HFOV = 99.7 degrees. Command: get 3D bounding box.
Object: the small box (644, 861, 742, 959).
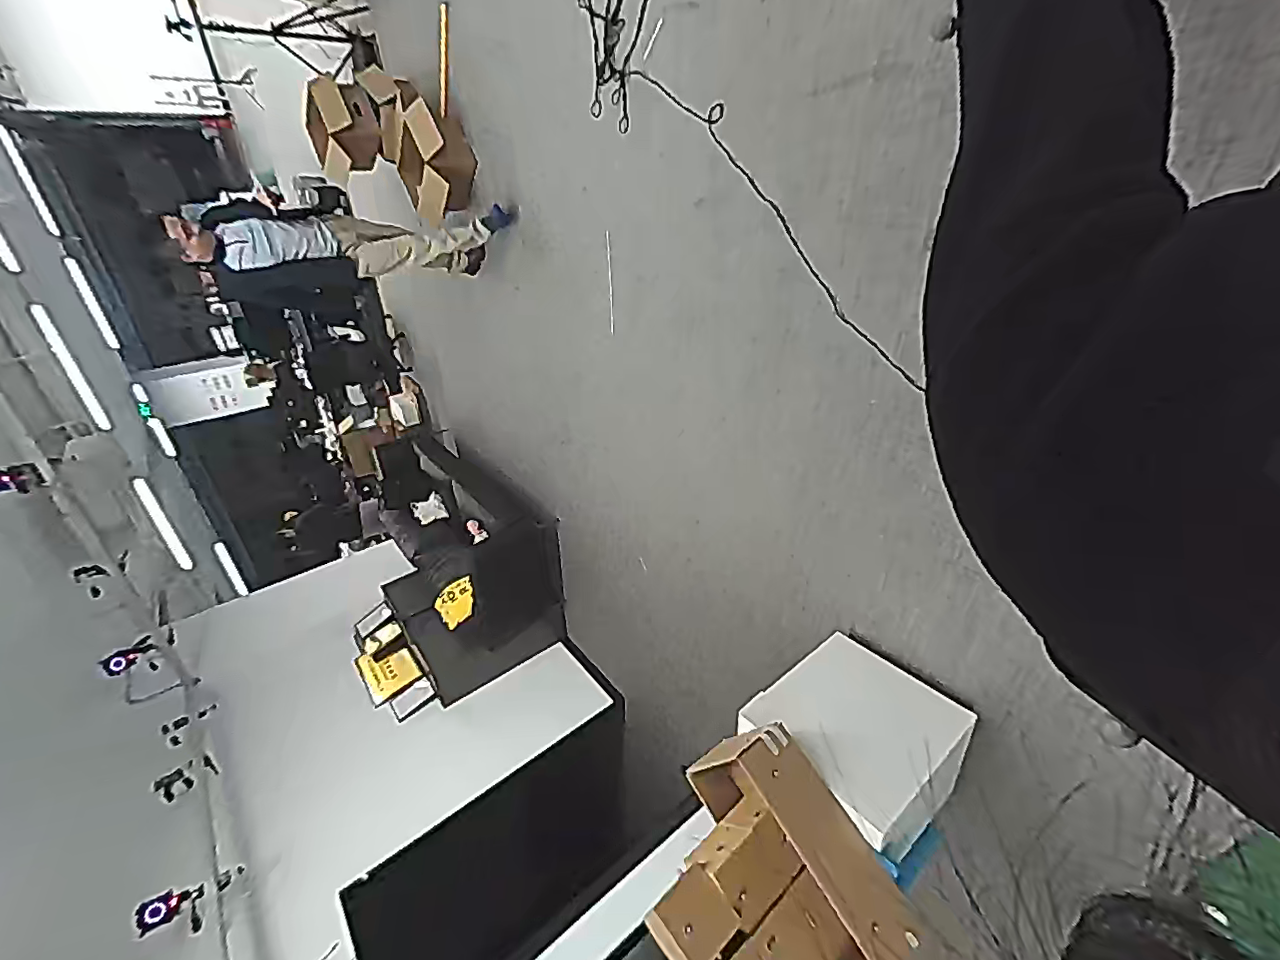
[{"bbox_3d":[0.138,1.153,1.418,0.179,0.176,0.168,43,141,29],"label":"small box"}]
